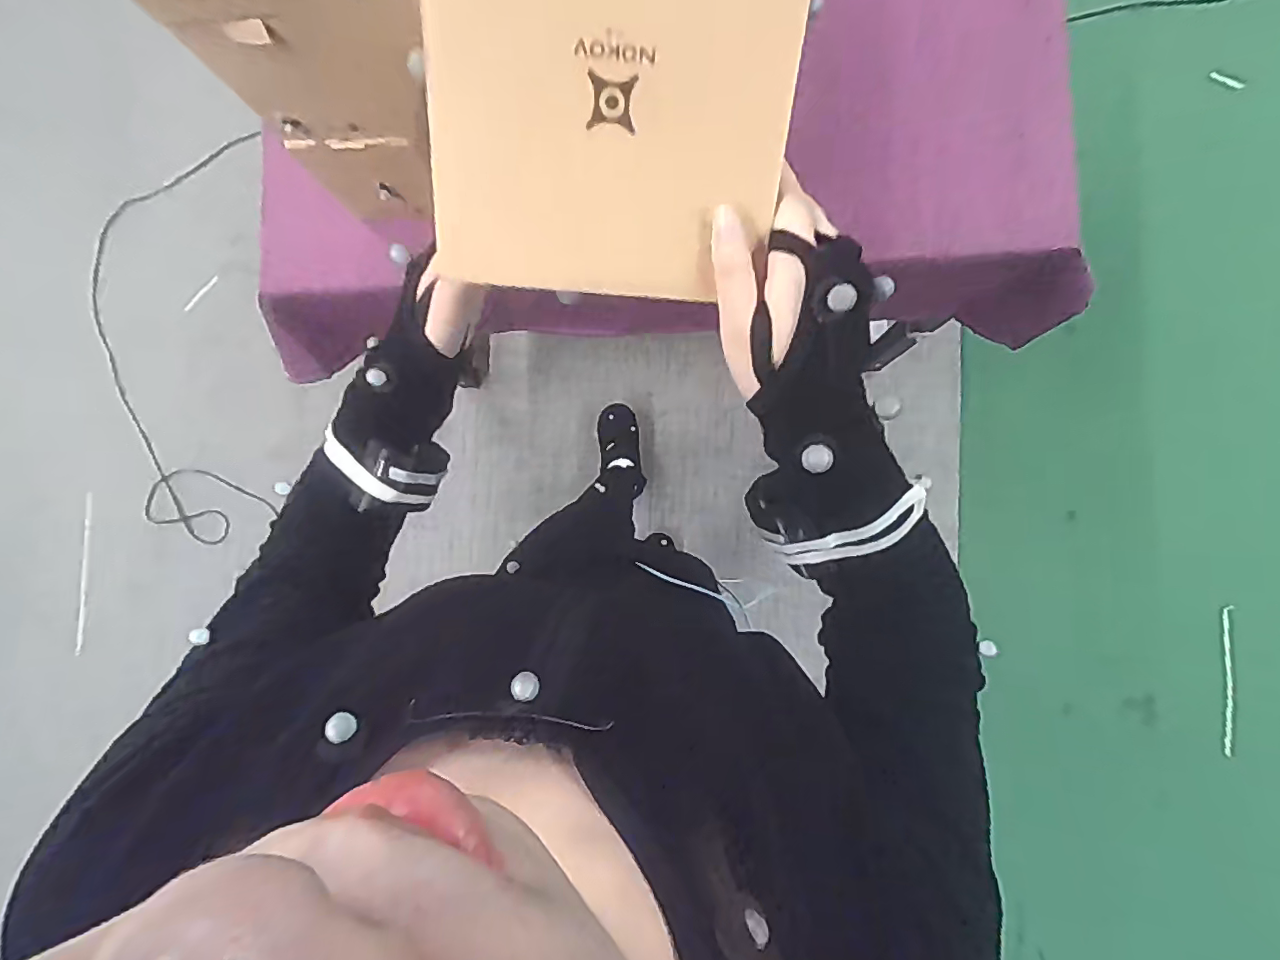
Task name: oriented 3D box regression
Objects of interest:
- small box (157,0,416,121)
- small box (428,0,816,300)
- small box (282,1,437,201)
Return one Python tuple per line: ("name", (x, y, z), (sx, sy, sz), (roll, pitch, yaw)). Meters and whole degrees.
("small box", (-0.357, -0.519, 0.575), (0.168, 0.176, 0.179), (3, 87, 3))
("small box", (-0.013, -0.213, 0.312), (0.168, 0.176, 0.179), (4, 115, -5))
("small box", (-0.351, -0.504, 0.739), (0.168, 0.176, 0.179), (2, 88, 3))
